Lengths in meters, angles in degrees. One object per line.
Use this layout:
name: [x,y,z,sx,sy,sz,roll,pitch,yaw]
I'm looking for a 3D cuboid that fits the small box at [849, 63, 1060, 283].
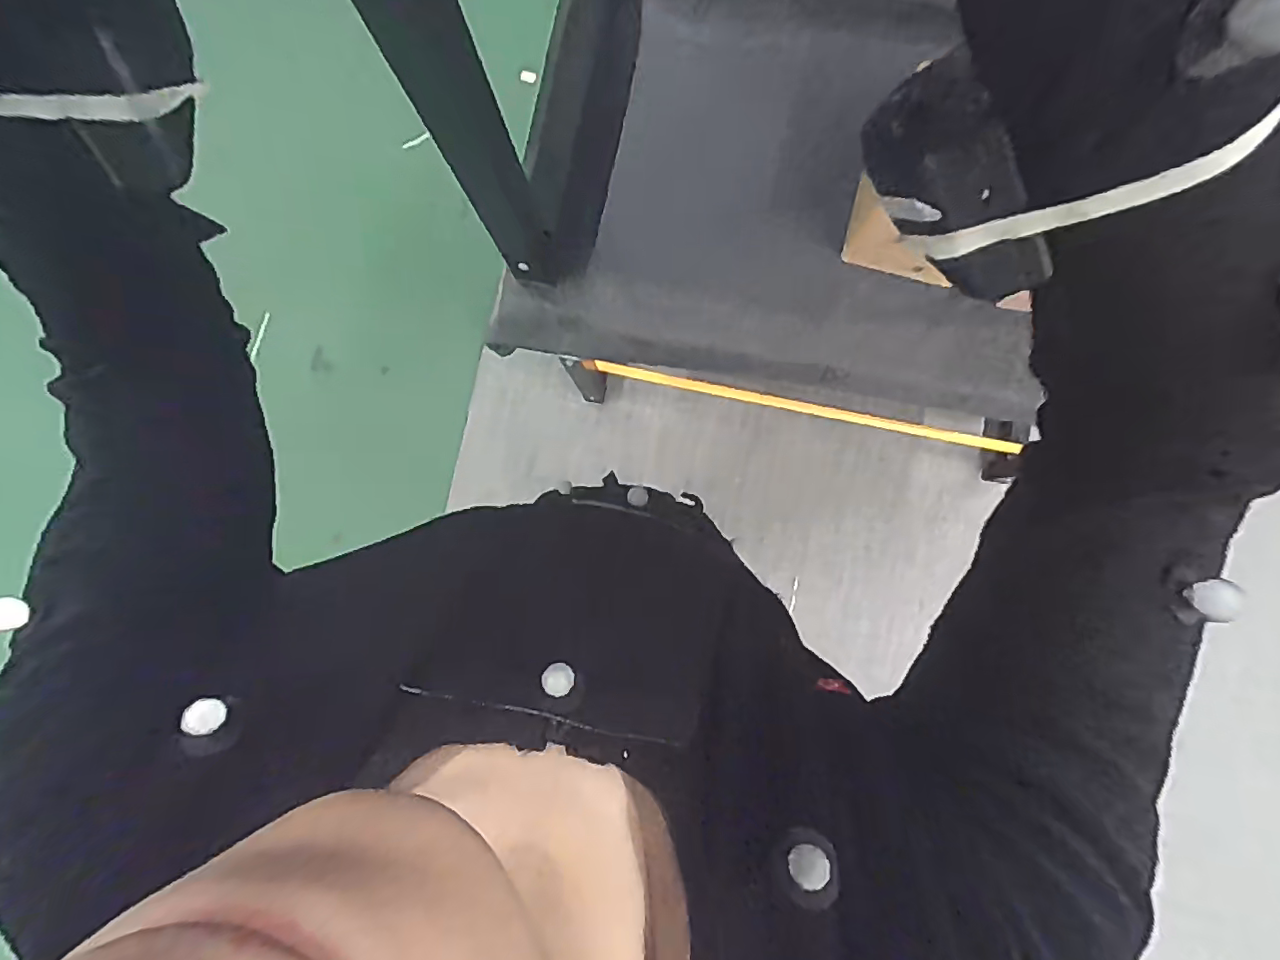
small box: [0.395,-0.387,0.712,0.168,0.176,0.179,15,86,3]
